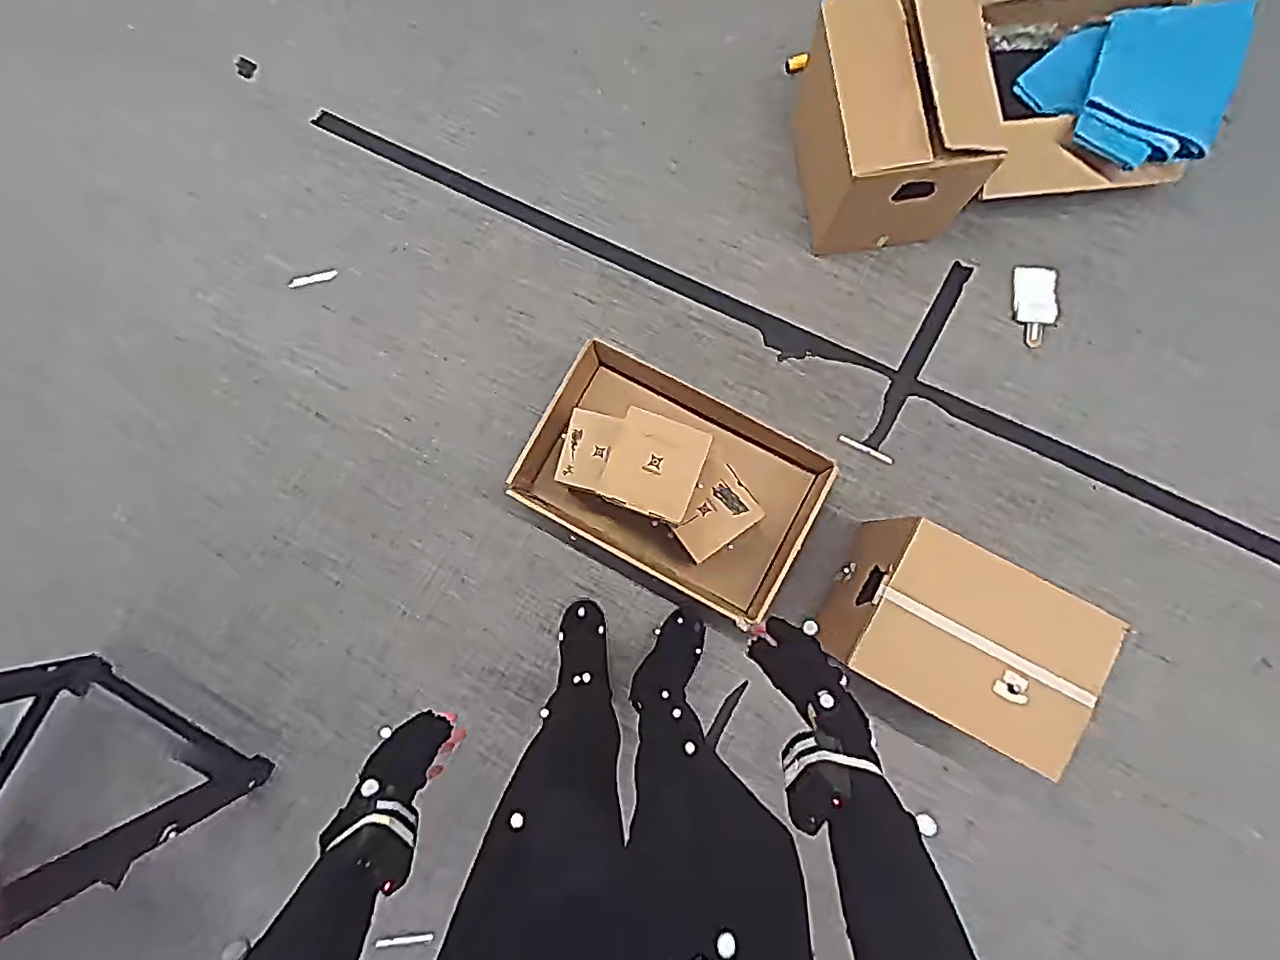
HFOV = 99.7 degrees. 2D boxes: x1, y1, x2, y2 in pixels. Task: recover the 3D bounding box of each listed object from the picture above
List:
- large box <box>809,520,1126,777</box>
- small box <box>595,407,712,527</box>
[{"bbox_3d":[0.626,0.311,1.112,0.408,0.320,0.320,28,86,6],"label":"large box"},{"bbox_3d":[0.029,-0.016,1.045,0.168,0.176,0.179,20,84,5],"label":"small box"}]
